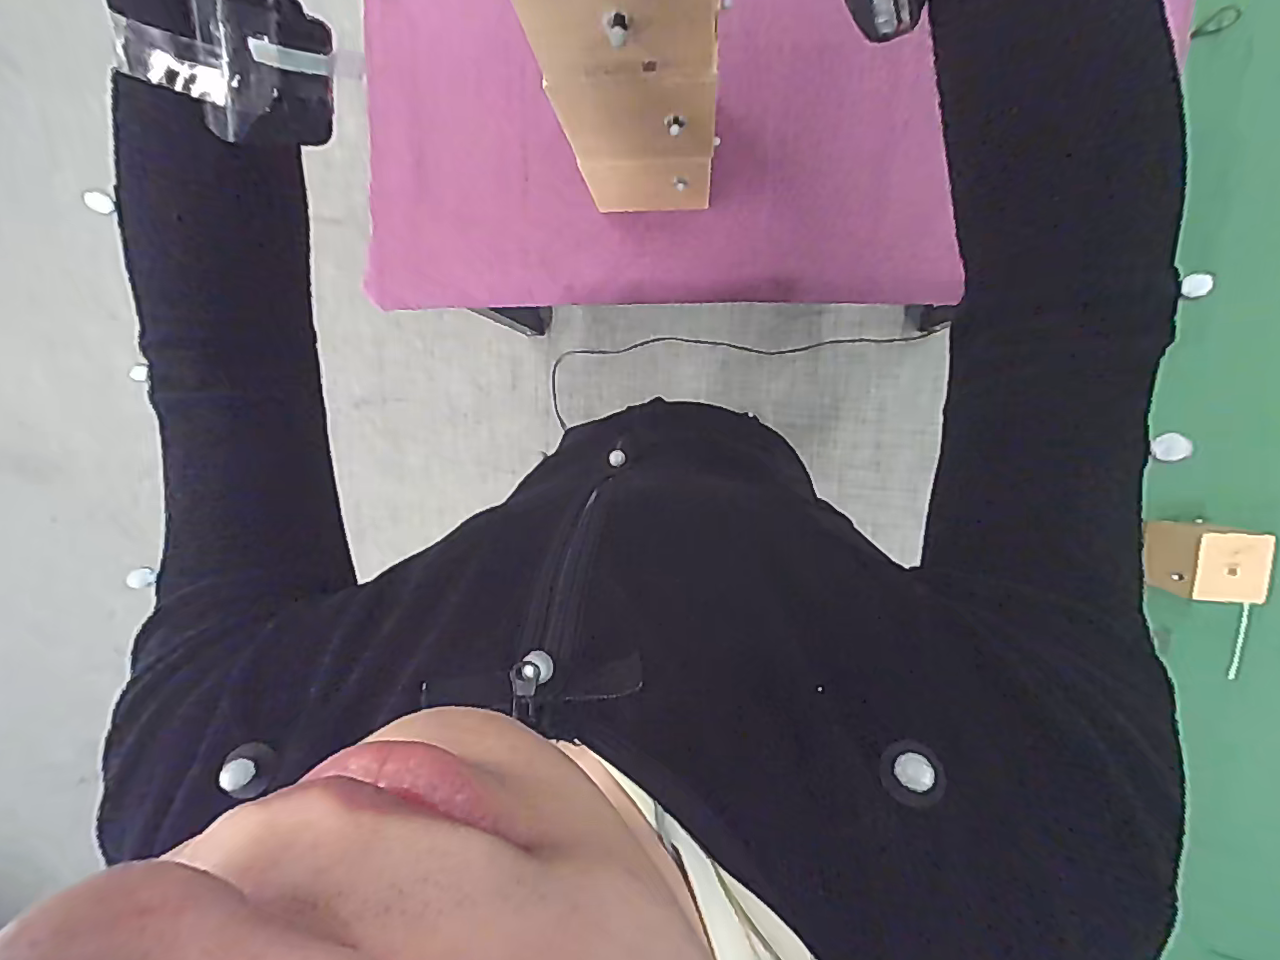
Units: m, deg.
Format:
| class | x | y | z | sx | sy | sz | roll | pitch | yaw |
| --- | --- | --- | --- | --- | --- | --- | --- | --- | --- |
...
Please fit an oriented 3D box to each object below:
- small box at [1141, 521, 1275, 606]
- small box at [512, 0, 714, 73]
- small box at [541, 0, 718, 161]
| class | x | y | z | sx | sy | sz | roll | pitch | yaw |
| --- | --- | --- | --- | --- | --- | --- | --- | --- | --- |
| small box | 1.467 | 0.212 | 1.410 | 0.168 | 0.176 | 0.179 | 3 | 97 | 6 |
| small box | -0.021 | -0.470 | 0.442 | 0.168 | 0.176 | 0.179 | 0 | 96 | 6 |
| small box | -0.003 | -0.481 | 0.604 | 0.179 | 0.176 | 0.168 | 1 | 96 | 7 |
